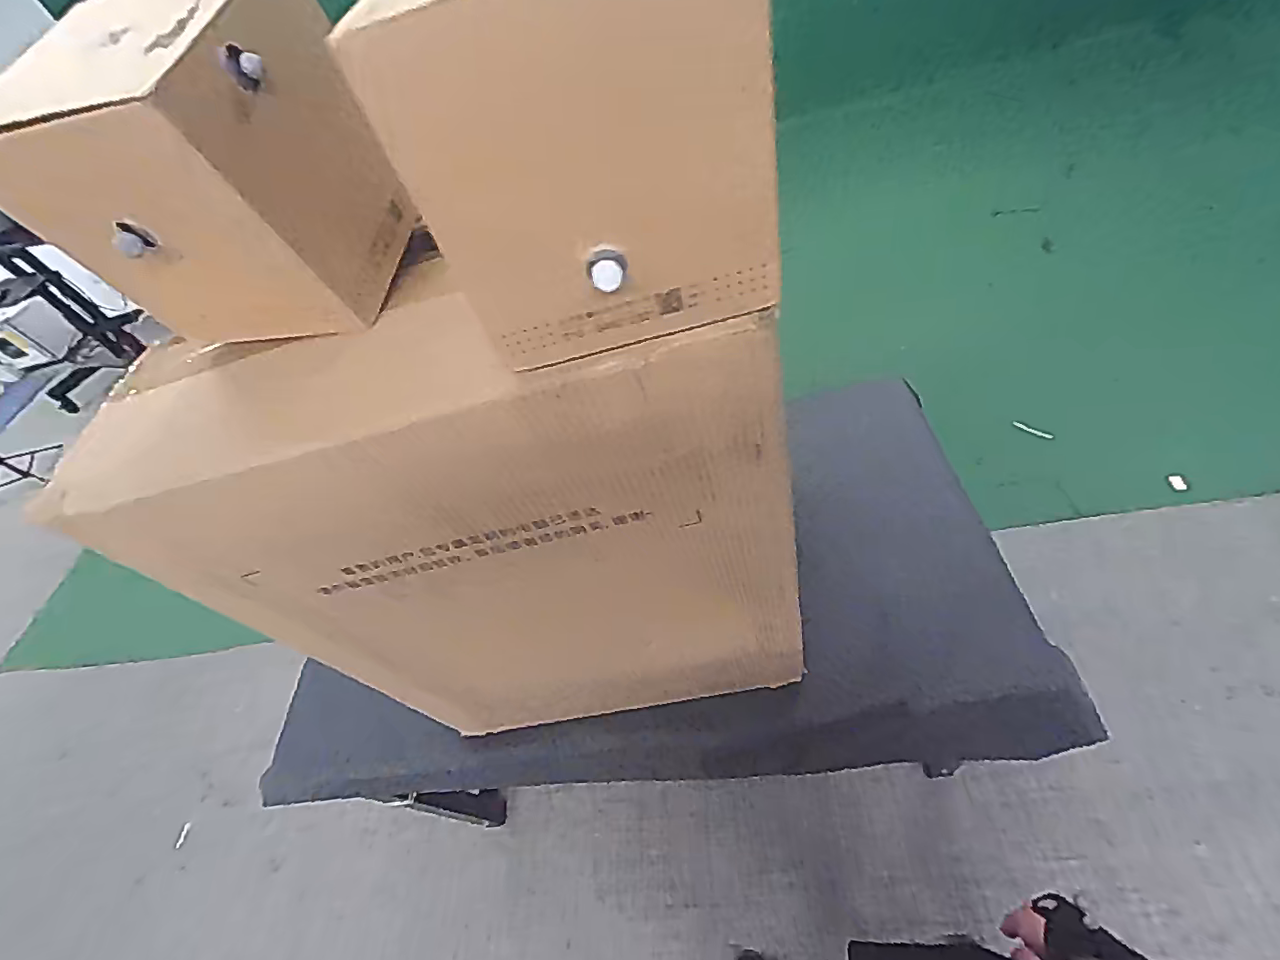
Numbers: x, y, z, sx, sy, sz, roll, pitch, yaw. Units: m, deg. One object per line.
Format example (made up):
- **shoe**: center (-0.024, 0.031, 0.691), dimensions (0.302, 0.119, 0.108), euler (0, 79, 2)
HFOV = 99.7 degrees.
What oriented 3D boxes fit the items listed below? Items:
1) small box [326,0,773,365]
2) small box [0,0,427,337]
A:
- **small box**: center (-0.027, -0.195, 0.304), dimensions (0.168, 0.176, 0.179), euler (-12, 51, 8)
- **small box**: center (-0.291, -0.220, 0.387), dimensions (0.179, 0.176, 0.168), euler (0, 64, 15)
